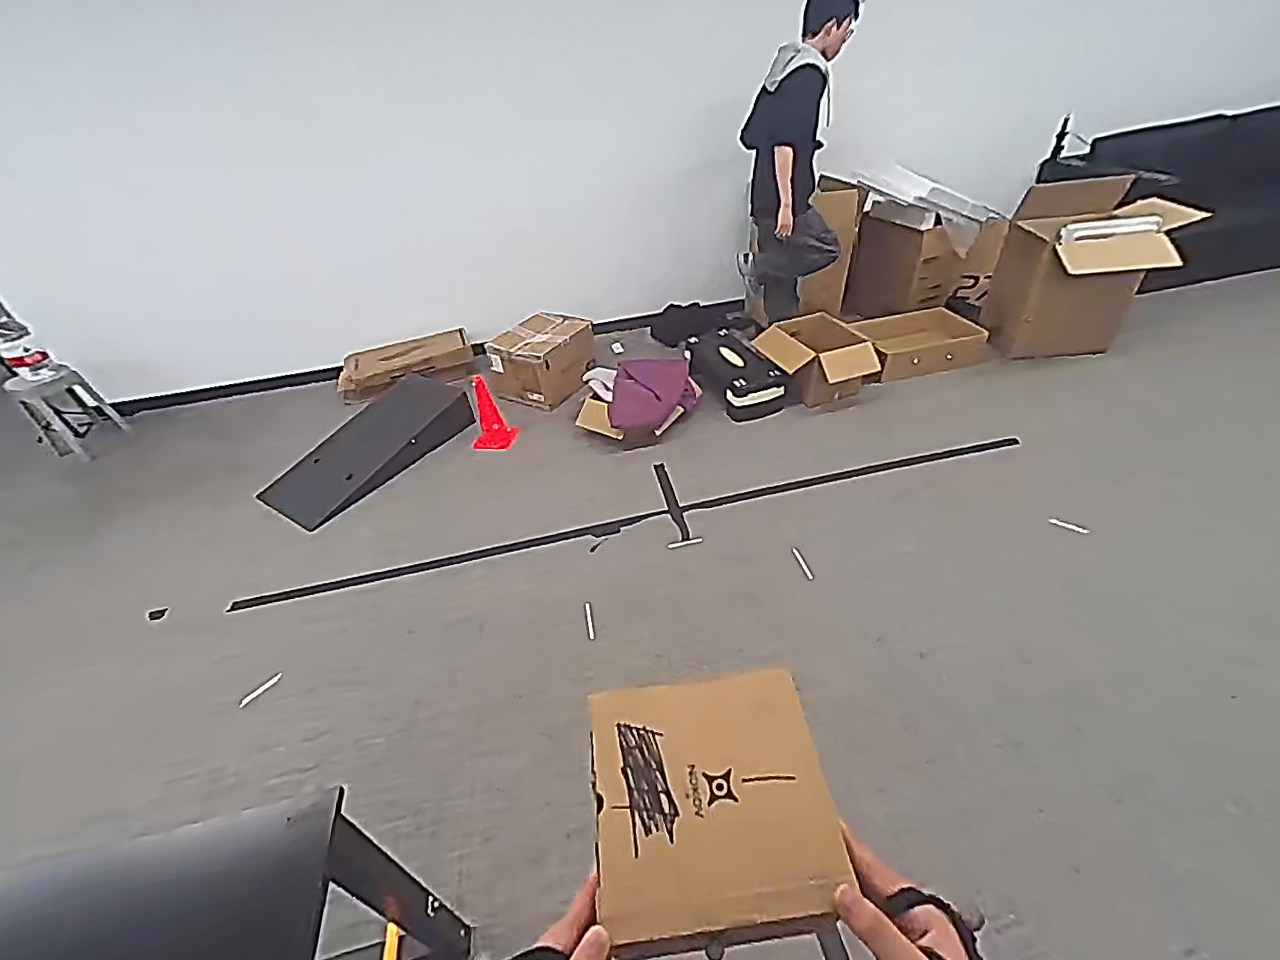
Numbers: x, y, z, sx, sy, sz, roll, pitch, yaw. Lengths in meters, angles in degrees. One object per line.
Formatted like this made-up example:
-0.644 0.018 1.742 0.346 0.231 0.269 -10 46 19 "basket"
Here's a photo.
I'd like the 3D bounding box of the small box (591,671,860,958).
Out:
0.057 0.287 0.463 0.179 0.176 0.168 -6 46 -3 "small box"
